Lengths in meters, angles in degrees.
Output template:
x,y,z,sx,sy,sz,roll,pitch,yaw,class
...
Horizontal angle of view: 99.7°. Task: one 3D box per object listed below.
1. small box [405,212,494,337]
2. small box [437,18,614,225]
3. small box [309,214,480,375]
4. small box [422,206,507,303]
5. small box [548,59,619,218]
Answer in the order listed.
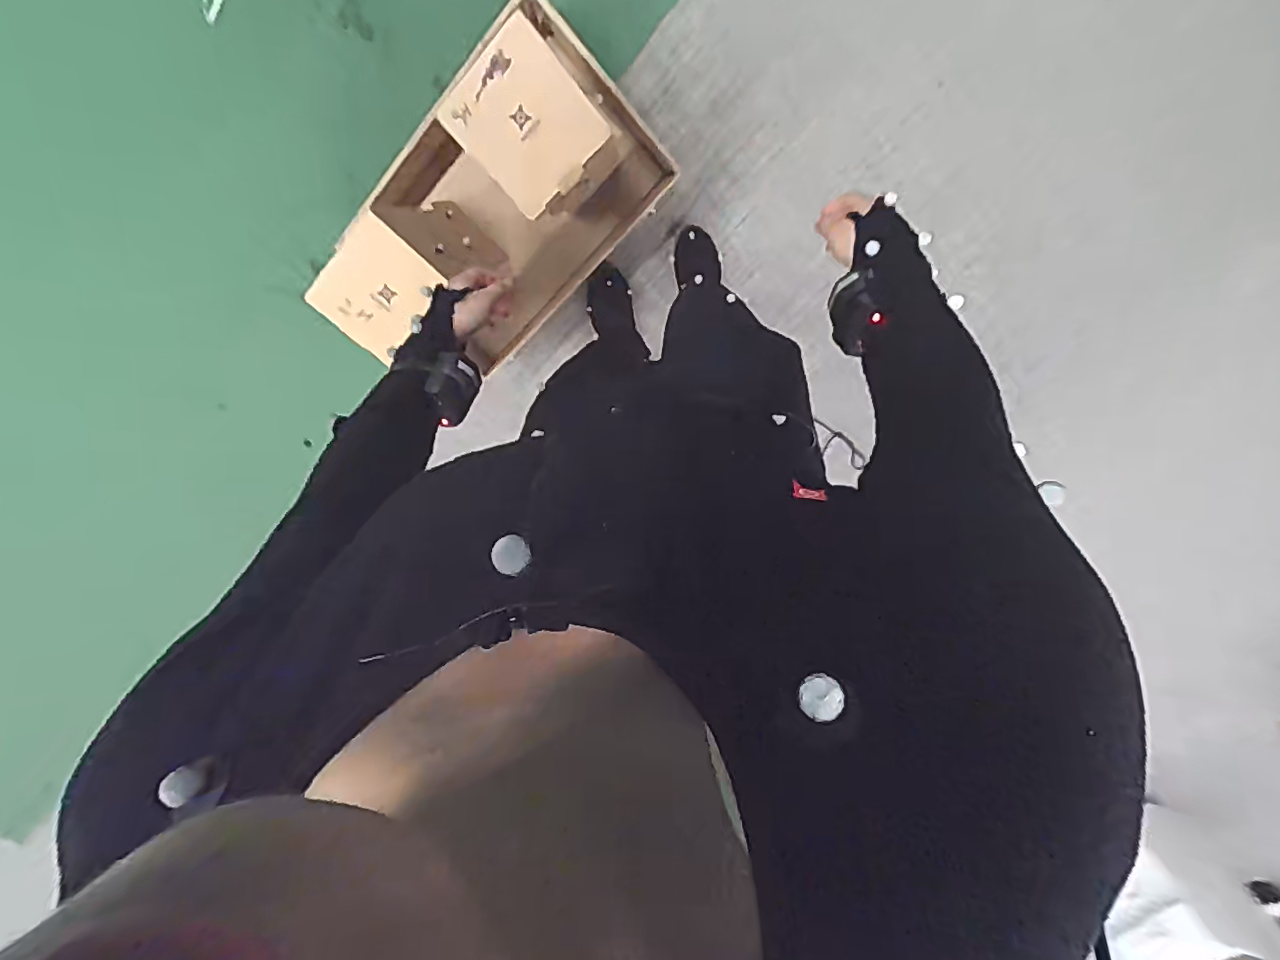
x,y,z,sx,sy,sz,roll,pitch,yaw,class
-0.399,-0.380,1.027,0.179,0.176,0.168,-42,113,17,small box
-0.153,-0.508,0.784,0.168,0.176,0.179,-38,116,18,small box
-0.382,-0.308,0.879,0.179,0.176,0.168,-42,112,17,small box
-0.410,-0.466,1.166,0.179,0.176,0.168,40,109,-22,small box
-0.149,-0.585,0.929,0.168,0.176,0.179,39,111,-23,small box
